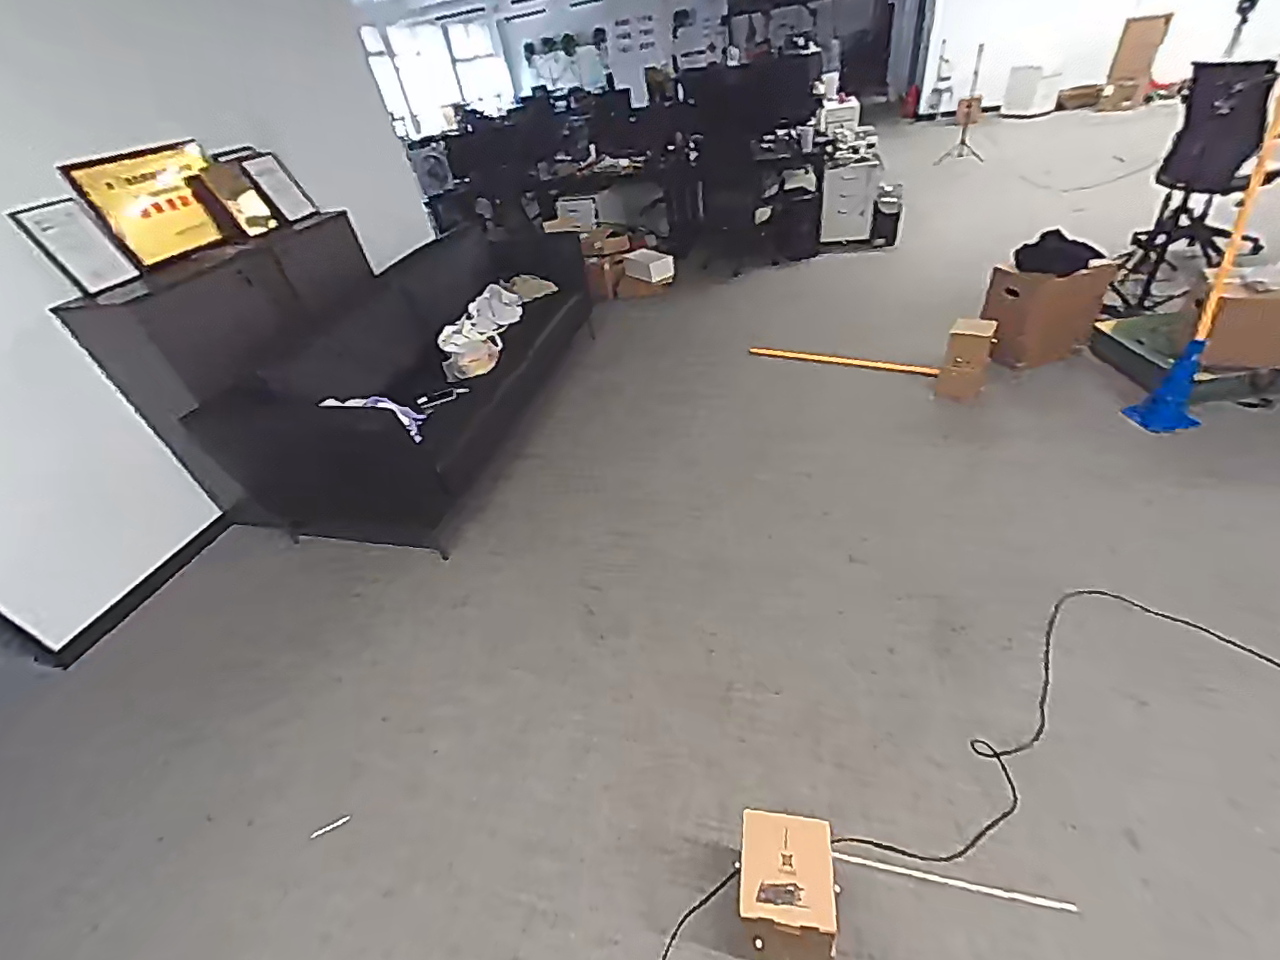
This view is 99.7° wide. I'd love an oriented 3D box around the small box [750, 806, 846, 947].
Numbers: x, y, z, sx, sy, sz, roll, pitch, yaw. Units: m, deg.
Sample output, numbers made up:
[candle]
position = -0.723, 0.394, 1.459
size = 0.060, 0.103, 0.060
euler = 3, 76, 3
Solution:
[small box]
position = 0.306, 0.773, 1.054
size = 0.168, 0.176, 0.179
euler = -1, 39, 15
